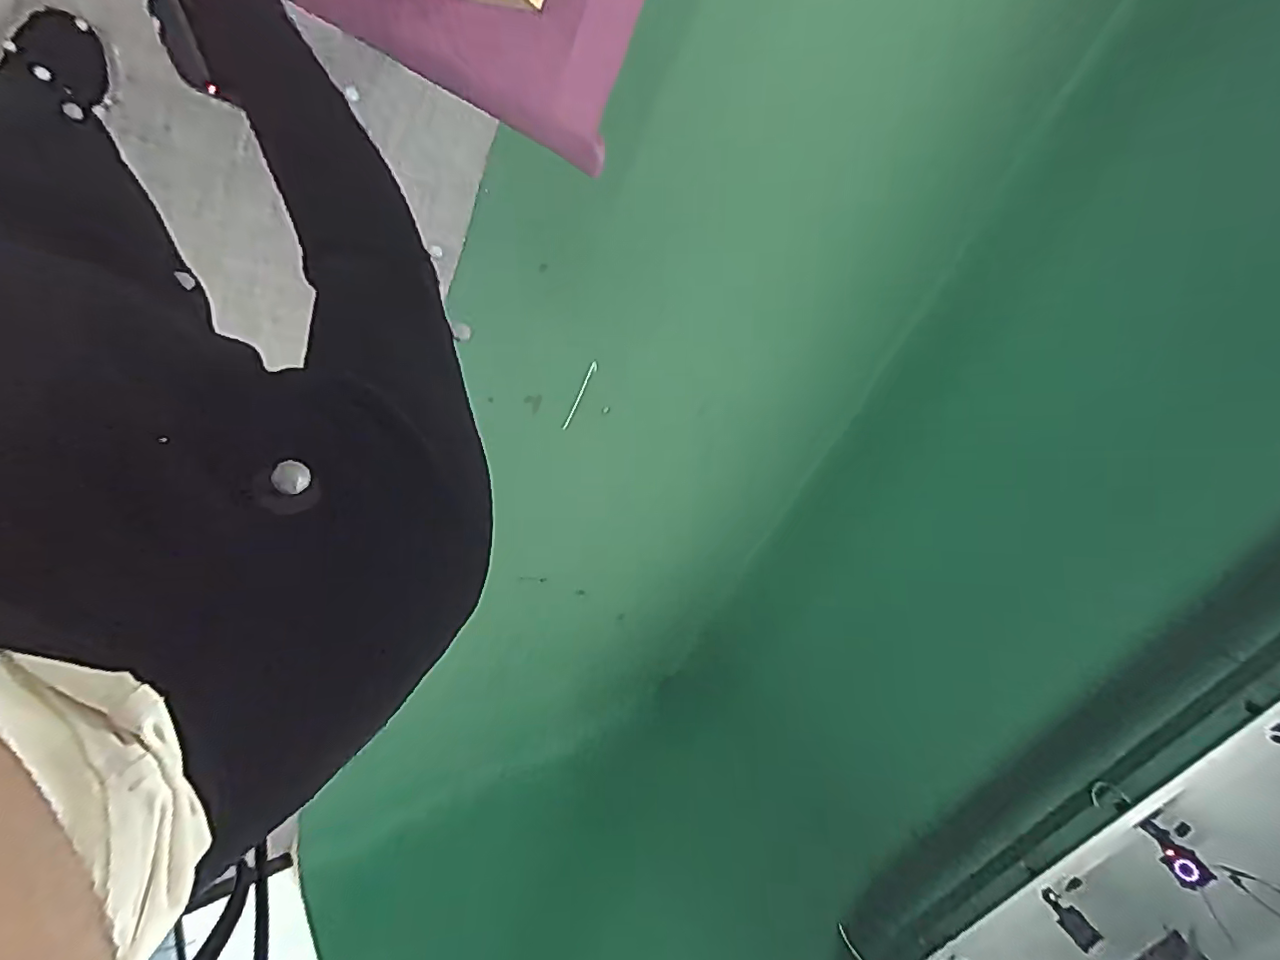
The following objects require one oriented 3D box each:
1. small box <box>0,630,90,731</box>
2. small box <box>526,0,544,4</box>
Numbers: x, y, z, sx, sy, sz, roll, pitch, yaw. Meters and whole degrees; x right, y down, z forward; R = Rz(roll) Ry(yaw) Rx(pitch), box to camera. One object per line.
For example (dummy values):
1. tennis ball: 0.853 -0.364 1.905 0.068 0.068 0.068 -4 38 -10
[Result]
1. small box: -1.627 0.542 1.477 0.168 0.176 0.179 3 124 -48
2. small box: -0.176 -0.611 0.524 0.179 0.176 0.168 2 123 -47
